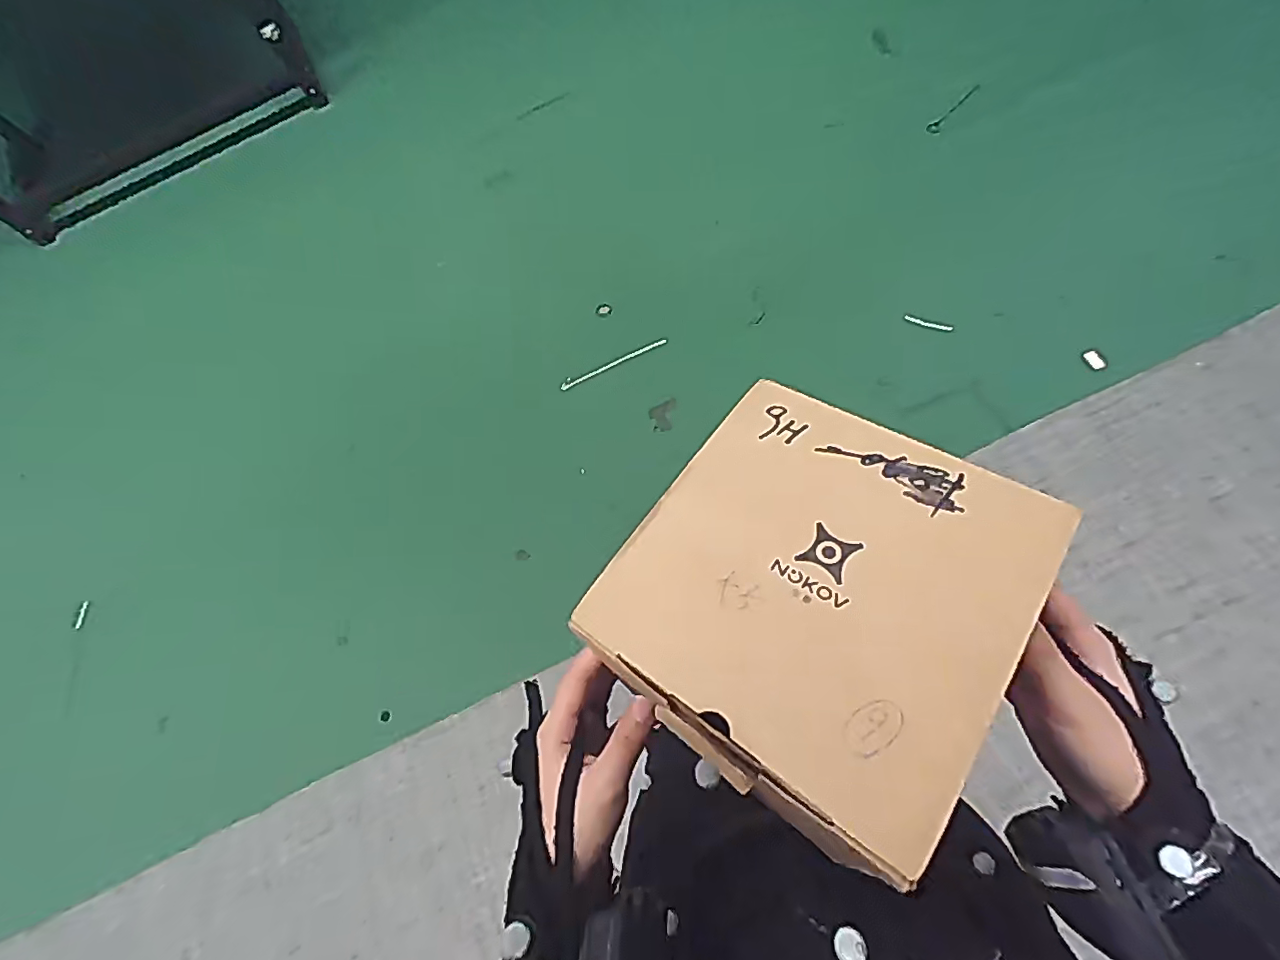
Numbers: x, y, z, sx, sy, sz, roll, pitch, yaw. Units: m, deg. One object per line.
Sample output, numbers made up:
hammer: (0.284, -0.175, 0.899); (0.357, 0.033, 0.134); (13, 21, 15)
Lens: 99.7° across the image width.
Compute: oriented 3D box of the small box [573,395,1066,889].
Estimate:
small box: (0.095, 0.090, 0.319); (0.168, 0.176, 0.179); (30, 69, 27)
